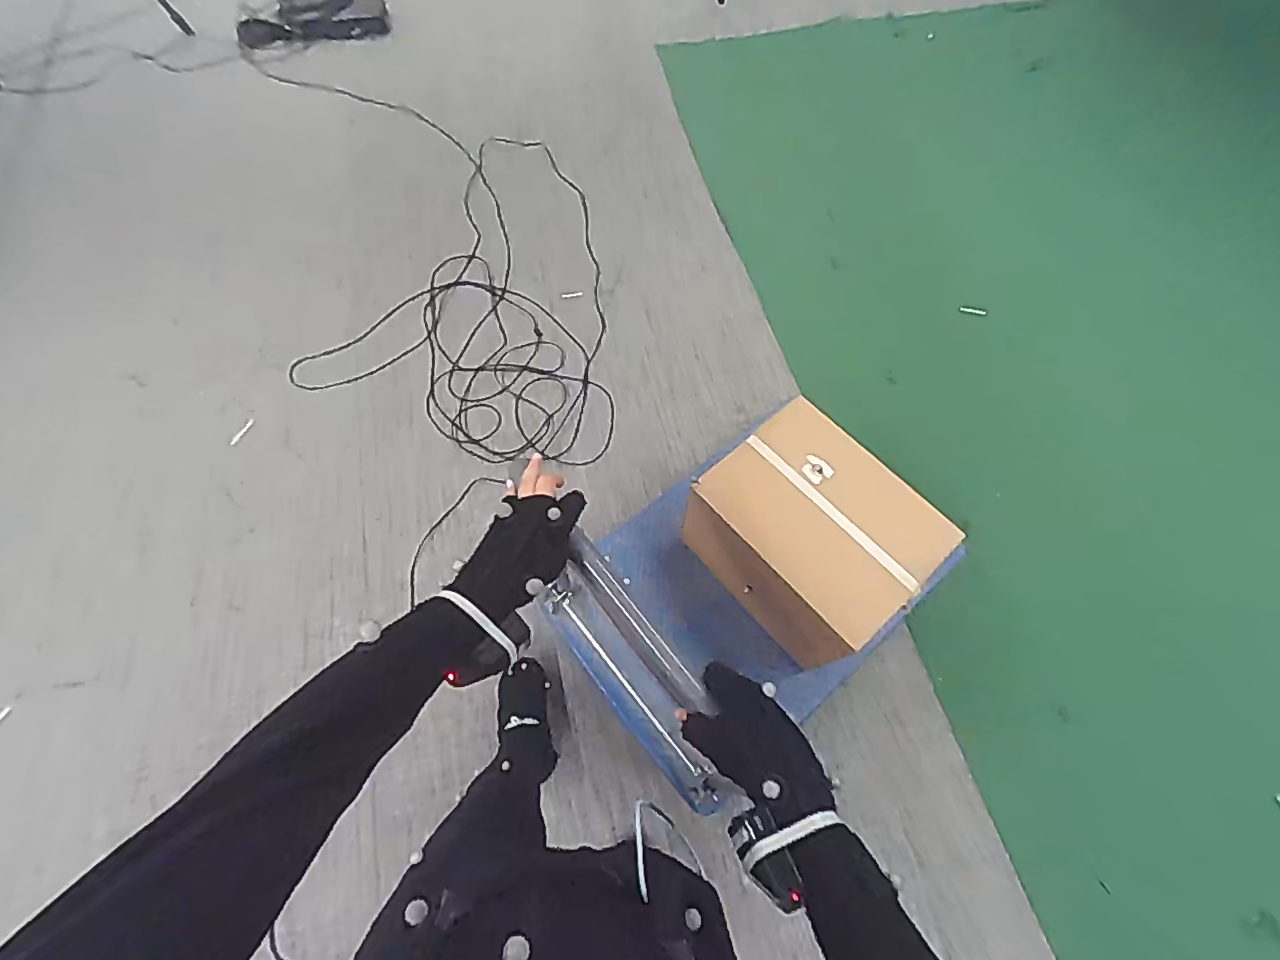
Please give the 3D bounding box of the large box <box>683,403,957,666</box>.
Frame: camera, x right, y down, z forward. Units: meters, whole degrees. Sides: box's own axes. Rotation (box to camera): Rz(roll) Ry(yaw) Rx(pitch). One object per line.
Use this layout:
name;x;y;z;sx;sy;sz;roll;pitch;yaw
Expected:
large box;0.342;0.125;1.144;0.320;0.320;0.408;-38;70;-17
